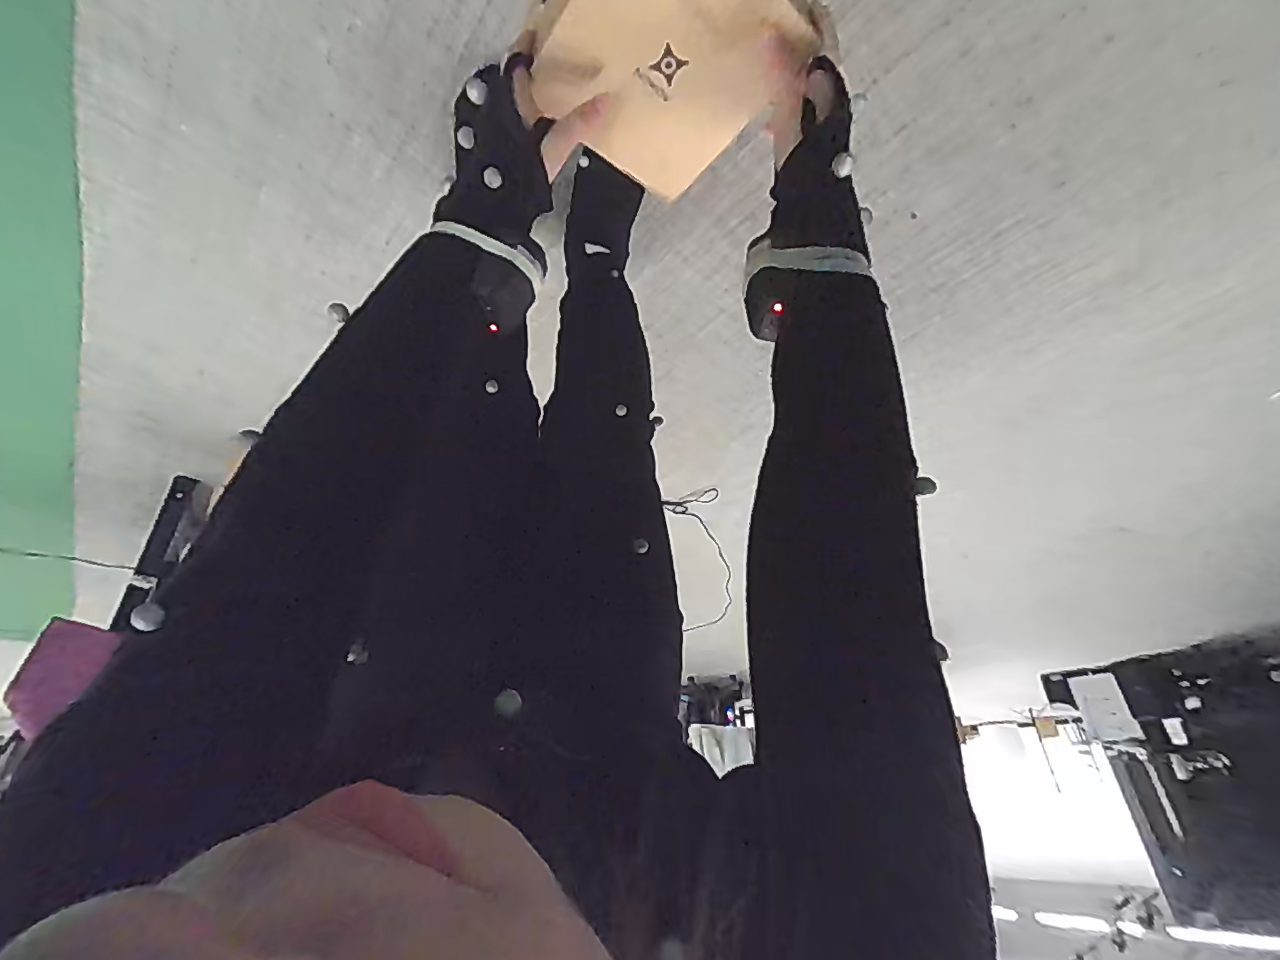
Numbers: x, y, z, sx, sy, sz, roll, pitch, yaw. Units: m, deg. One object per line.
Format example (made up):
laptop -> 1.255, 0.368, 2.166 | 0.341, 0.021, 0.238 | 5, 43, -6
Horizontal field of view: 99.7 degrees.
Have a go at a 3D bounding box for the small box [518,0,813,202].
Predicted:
small box -> 0.017, -0.392, 0.456 | 0.168, 0.176, 0.179 | 18, 148, -36

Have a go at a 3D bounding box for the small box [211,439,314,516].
small box -> -1.024, 0.012, 1.478 | 0.179, 0.176, 0.168 | -23, 144, 33

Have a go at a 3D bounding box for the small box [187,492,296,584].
small box -> -1.016, 0.149, 1.389 | 0.179, 0.176, 0.168 | -28, 141, 35
